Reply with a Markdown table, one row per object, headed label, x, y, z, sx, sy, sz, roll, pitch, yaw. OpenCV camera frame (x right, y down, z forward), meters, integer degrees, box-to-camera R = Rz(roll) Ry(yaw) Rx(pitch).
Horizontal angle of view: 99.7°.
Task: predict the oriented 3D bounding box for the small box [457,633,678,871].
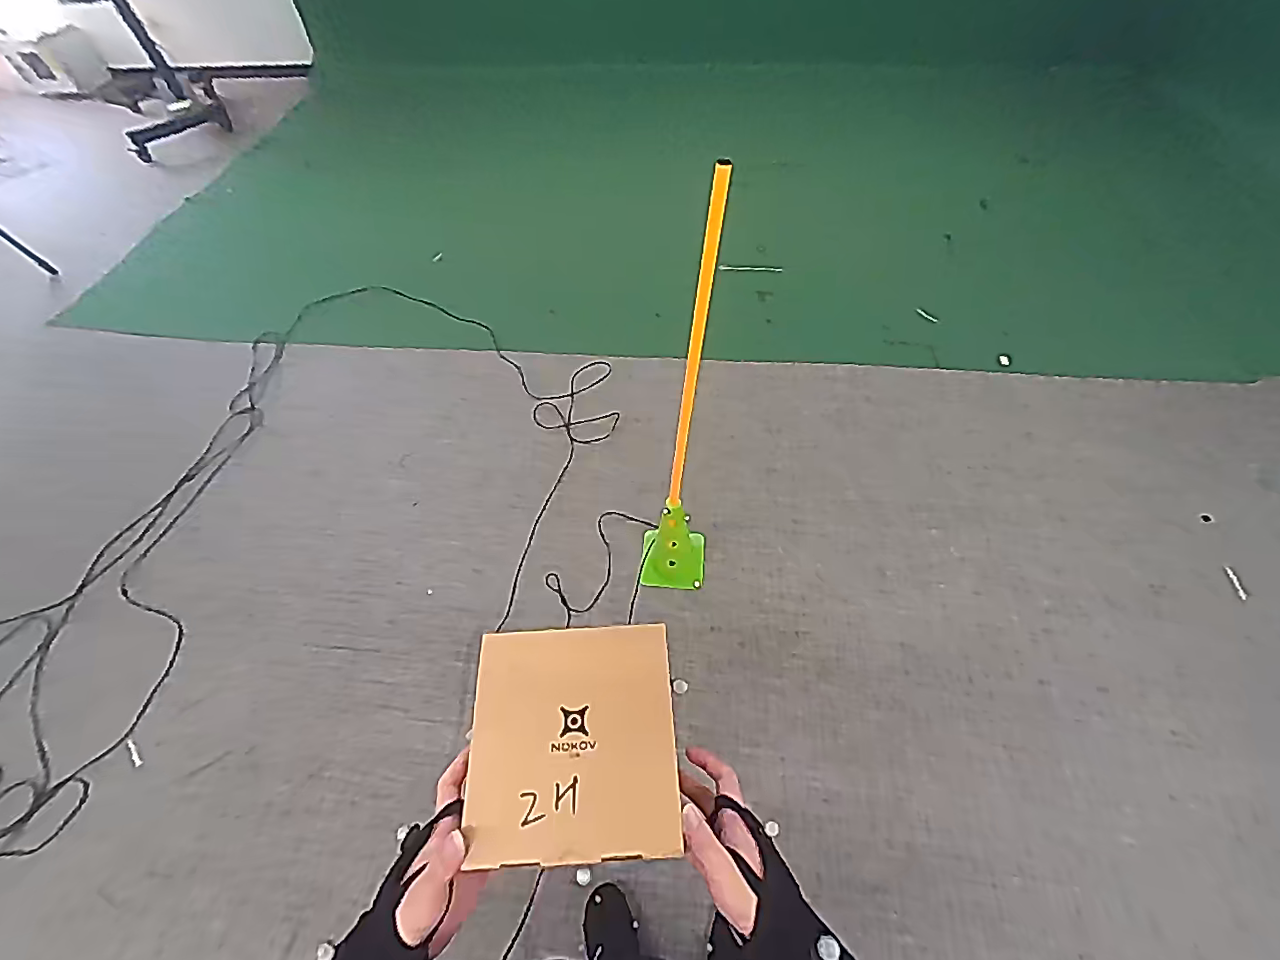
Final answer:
| label | x | y | z | sx | sy | sz | roll | pitch | yaw |
| --- | --- | --- | --- | --- | --- | --- | --- | --- | --- |
| small box | -0.055 | 0.258 | 0.510 | 0.168 | 0.176 | 0.179 | -2 | 55 | -1 |

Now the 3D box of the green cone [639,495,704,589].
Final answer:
| label | x | y | z | sx | sy | sz | roll | pitch | yaw |
| --- | --- | --- | --- | --- | --- | --- | --- | --- | --- |
| green cone | 0.095 | 0.158 | 1.622 | 0.202 | 0.368 | 0.200 | 3 | 55 | 6 |
